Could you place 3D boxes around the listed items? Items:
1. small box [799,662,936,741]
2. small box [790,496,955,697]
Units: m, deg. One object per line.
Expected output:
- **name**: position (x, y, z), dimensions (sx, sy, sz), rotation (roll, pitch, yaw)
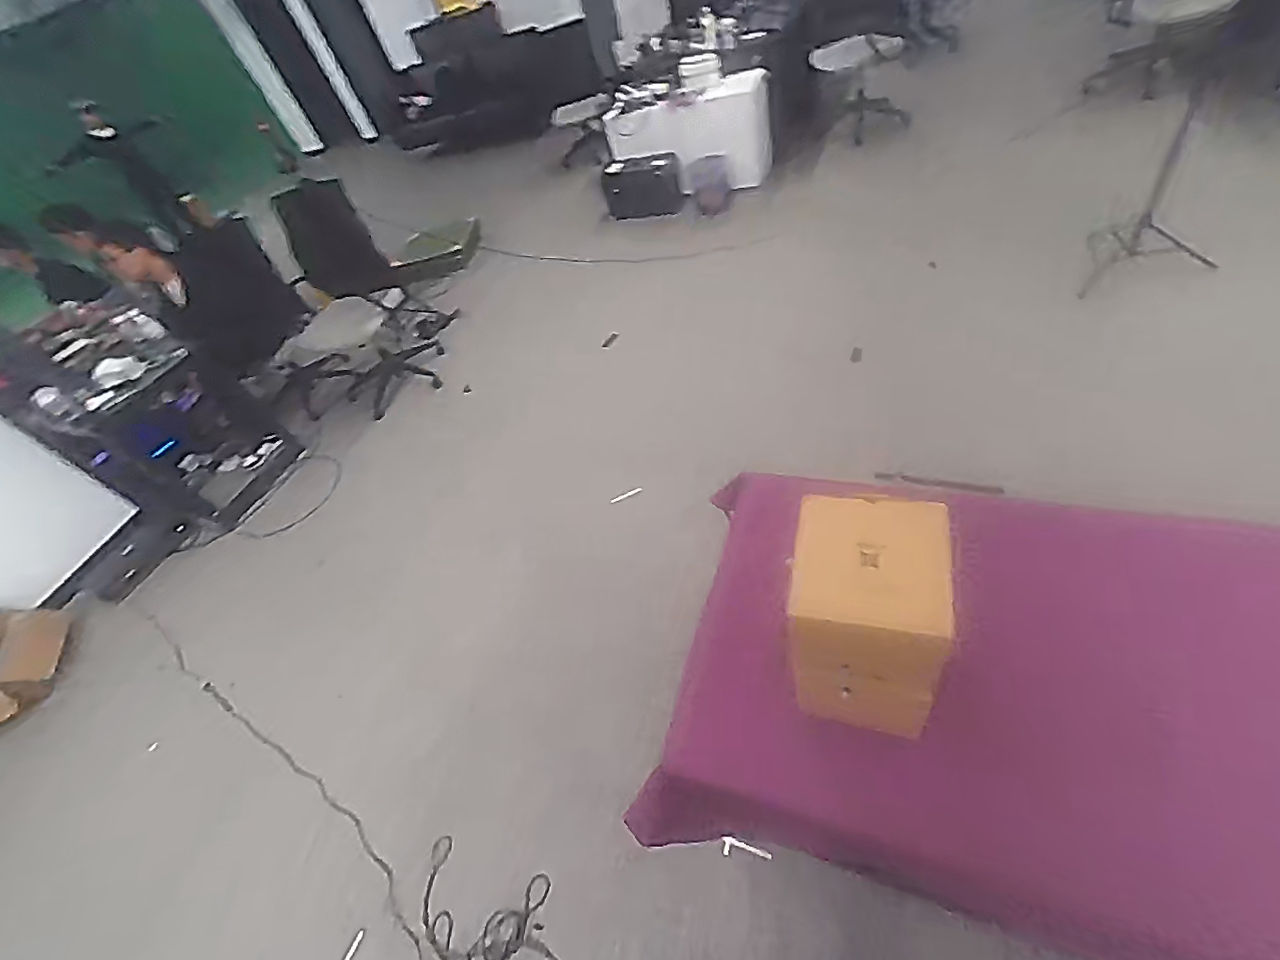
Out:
- **small box**: position (0.332, 0.251, 0.793), dimensions (0.168, 0.176, 0.179), rotation (5, 52, 24)
- **small box**: position (0.287, 0.144, 0.678), dimensions (0.168, 0.176, 0.179), rotation (4, 52, 23)
